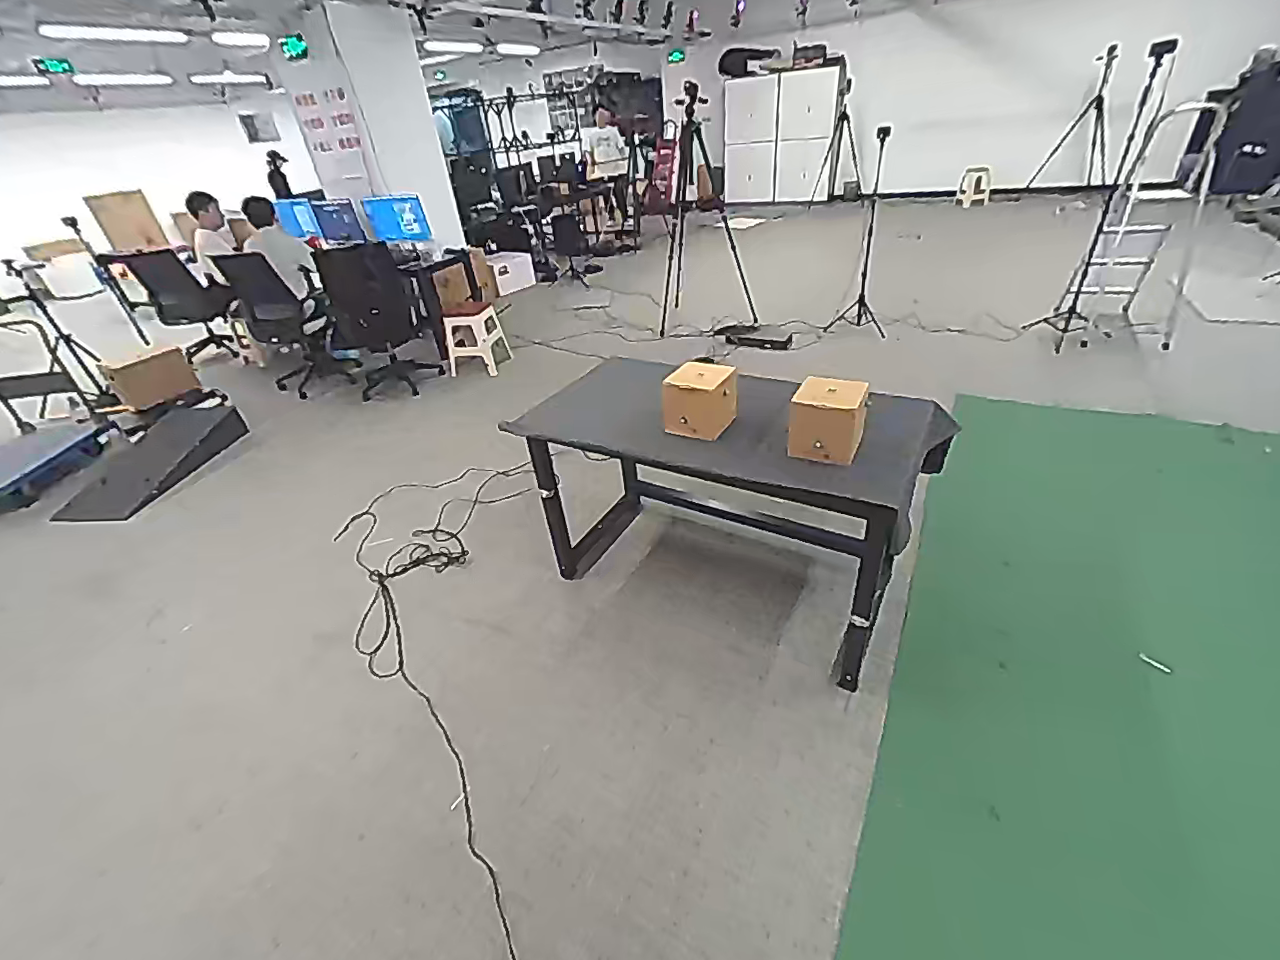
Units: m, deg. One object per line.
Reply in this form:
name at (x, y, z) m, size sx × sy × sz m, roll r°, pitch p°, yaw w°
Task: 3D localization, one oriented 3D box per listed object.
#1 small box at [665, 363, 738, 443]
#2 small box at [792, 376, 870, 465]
small box at (0.189, -0.236, 1.645) m, size 0.168 × 0.176 × 0.179 m, roll 14°, pitch 39°, yaw 28°
small box at (0.513, -0.163, 1.464) m, size 0.168 × 0.176 × 0.179 m, roll 11°, pitch 38°, yaw 28°
